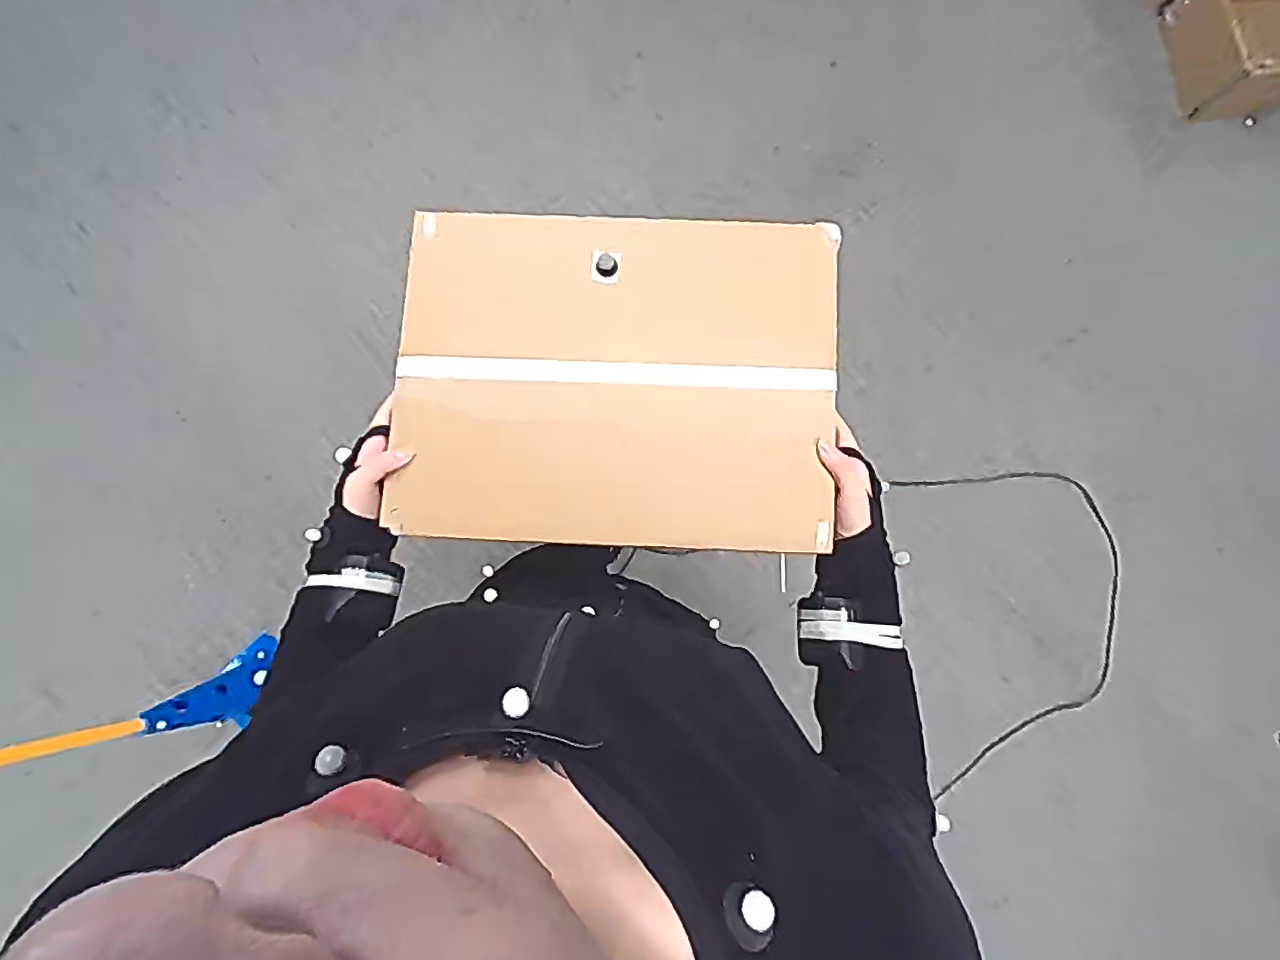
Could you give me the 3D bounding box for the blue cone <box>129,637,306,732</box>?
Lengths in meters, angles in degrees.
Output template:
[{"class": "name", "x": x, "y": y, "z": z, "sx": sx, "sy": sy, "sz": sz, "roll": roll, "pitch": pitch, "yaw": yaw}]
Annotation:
[{"class": "blue cone", "x": -0.982, "y": 0.499, "z": 1.228, "sx": 0.193, "sy": 0.380, "sz": 0.192, "roll": 45, "pitch": 83, "yaw": 6}]
